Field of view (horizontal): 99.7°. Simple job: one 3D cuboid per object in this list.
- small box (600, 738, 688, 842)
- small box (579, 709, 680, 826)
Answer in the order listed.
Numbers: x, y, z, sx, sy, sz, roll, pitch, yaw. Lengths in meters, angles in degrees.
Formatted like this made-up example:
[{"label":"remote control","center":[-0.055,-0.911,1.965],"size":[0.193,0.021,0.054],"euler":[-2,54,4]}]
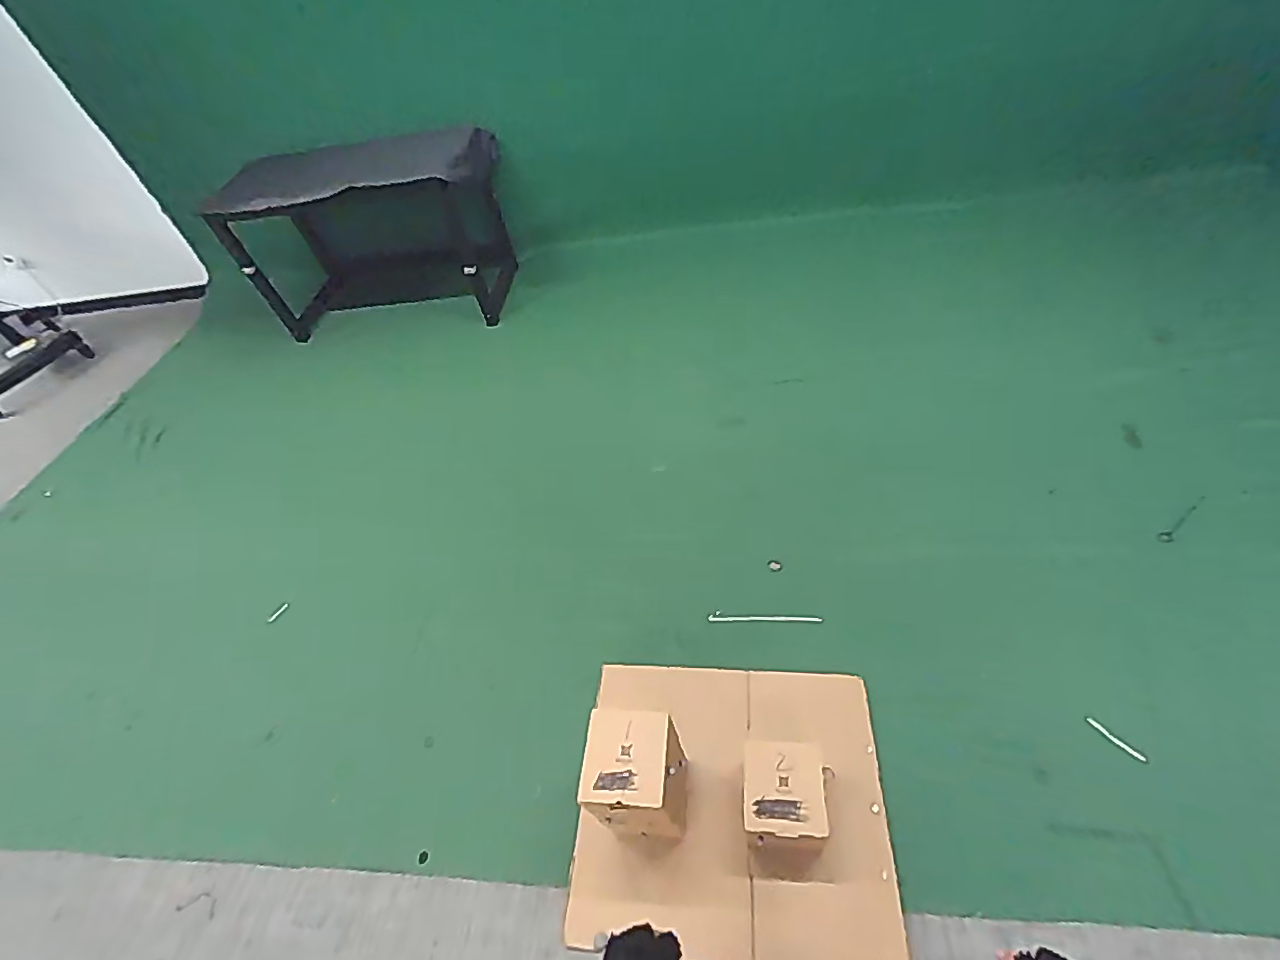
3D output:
[{"label":"small box","center":[0.017,0.702,1.232],"size":[0.168,0.176,0.179],"euler":[-3,49,11]},{"label":"small box","center":[-0.012,0.594,1.112],"size":[0.168,0.176,0.179],"euler":[-1,48,12]}]
